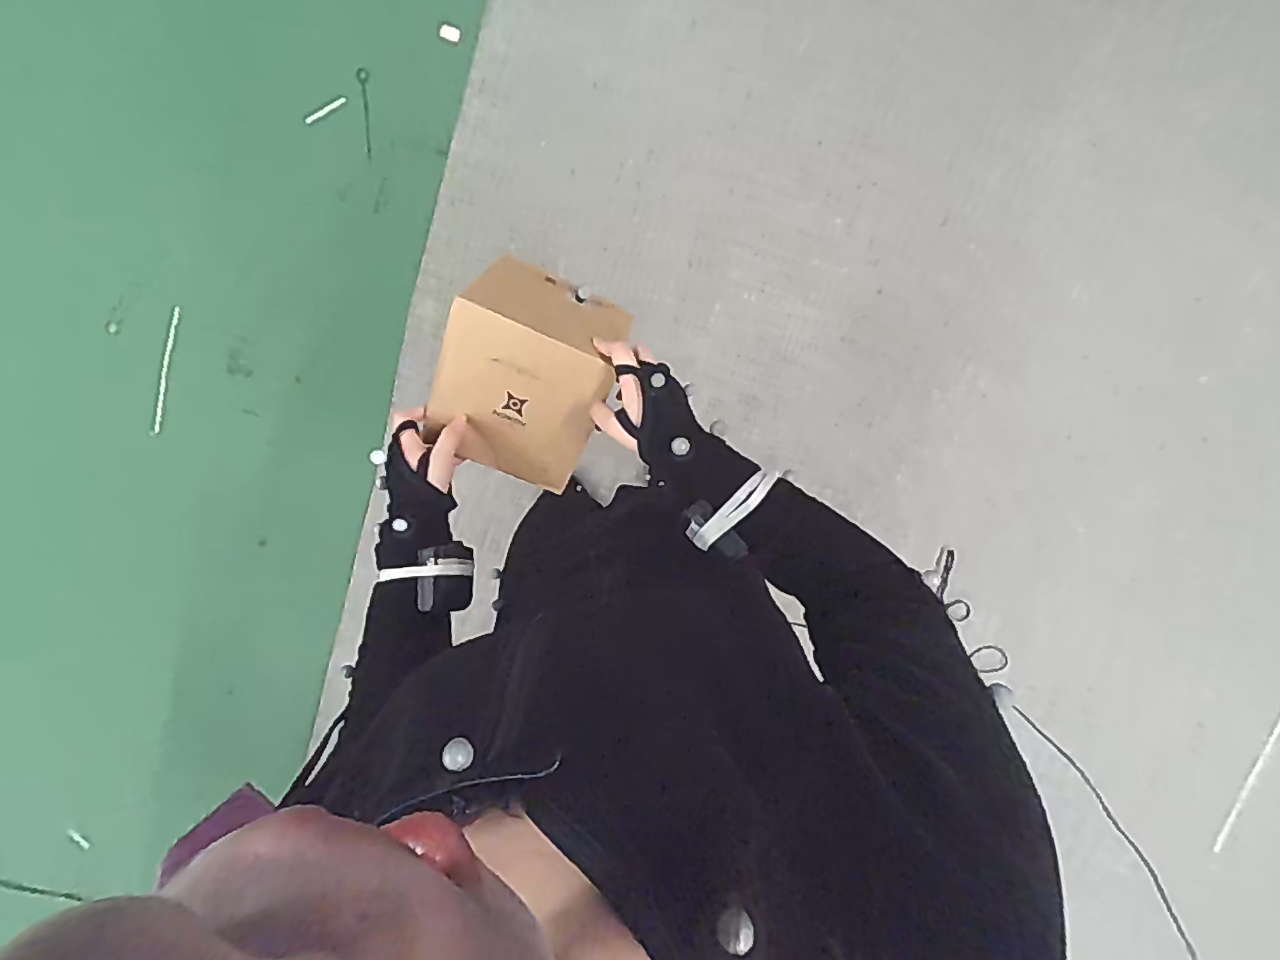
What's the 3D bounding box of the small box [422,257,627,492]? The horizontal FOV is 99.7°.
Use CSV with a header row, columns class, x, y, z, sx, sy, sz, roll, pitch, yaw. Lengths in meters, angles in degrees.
class,x,y,z,sx,sy,sz,roll,pitch,yaw
small box,-0.124,-0.124,0.625,0.168,0.176,0.179,24,125,-11
